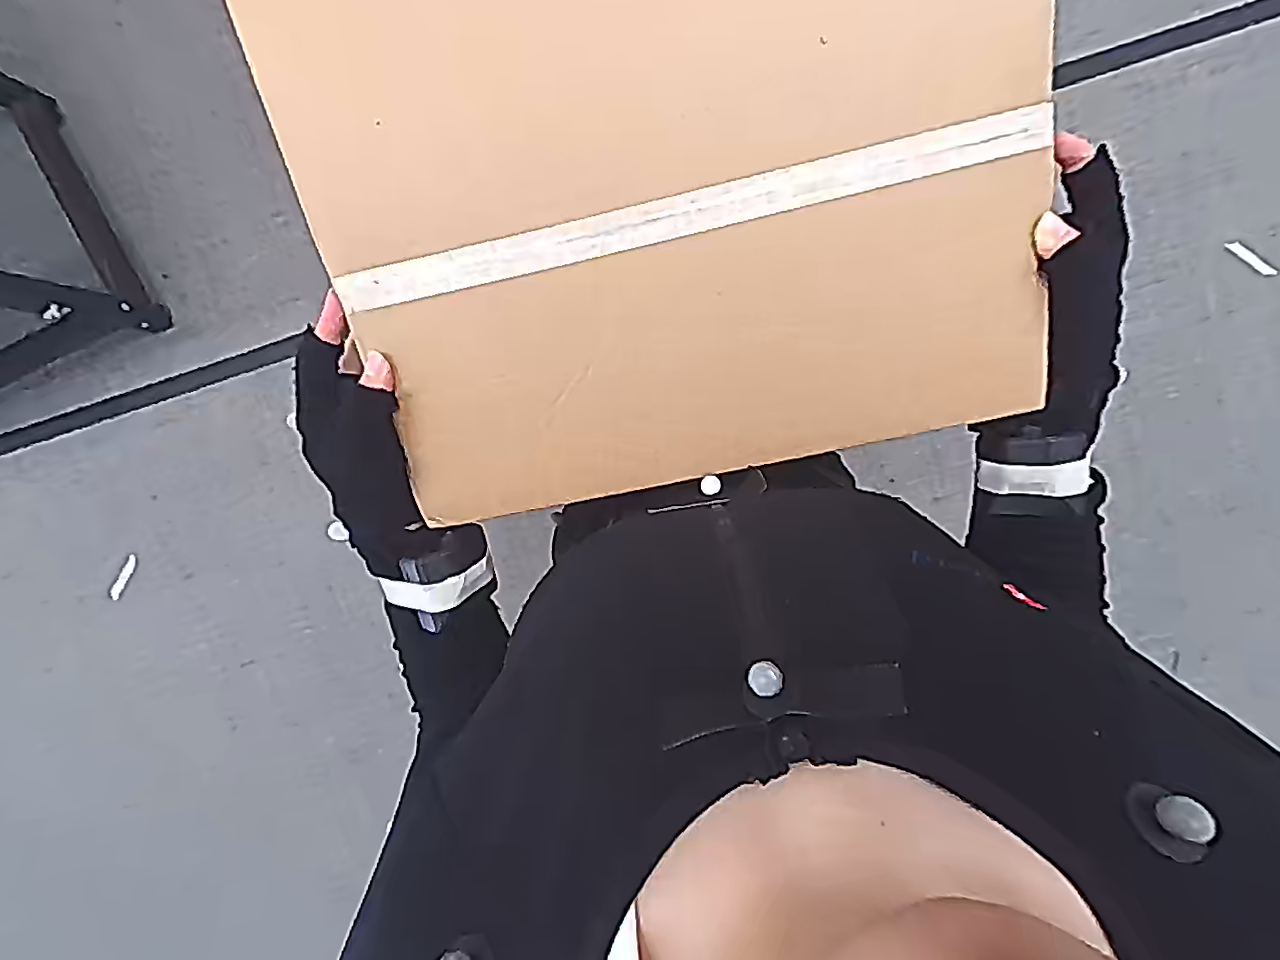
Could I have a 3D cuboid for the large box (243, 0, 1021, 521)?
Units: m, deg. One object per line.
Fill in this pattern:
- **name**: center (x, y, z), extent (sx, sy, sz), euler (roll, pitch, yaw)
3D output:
- **large box**: center (0.017, -0.201, 0.455), extent (0.408, 0.320, 0.320), euler (-11, 109, 4)
